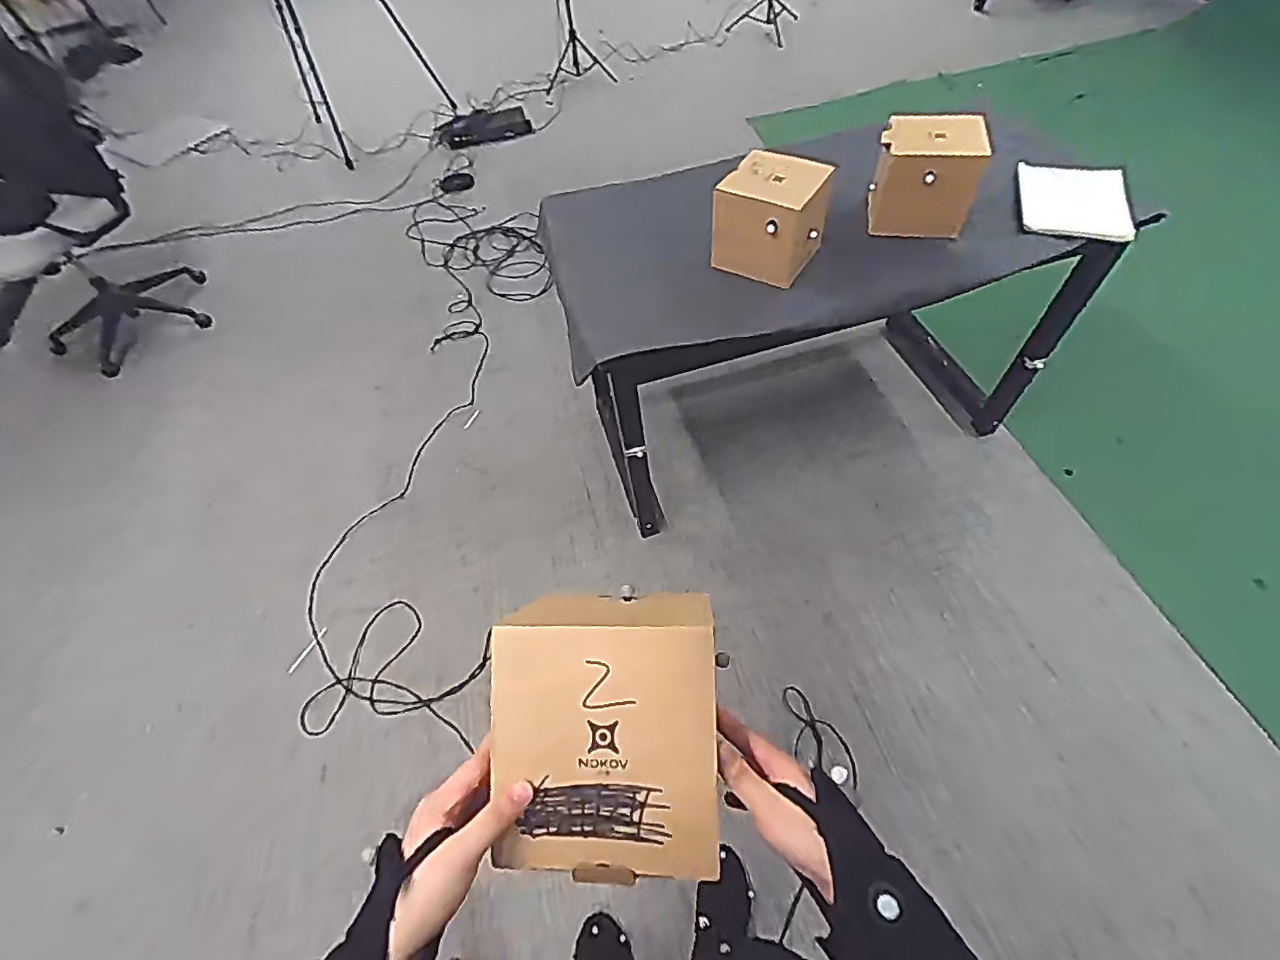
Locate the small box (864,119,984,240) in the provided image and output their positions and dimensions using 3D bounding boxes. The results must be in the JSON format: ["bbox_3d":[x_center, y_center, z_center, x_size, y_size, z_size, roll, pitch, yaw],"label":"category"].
[{"bbox_3d":[0.580,-0.621,1.125,0.179,0.176,0.168,8,57,12],"label":"small box"}]

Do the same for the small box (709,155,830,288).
[{"bbox_3d":[0.254,-0.516,1.089,0.179,0.176,0.168,26,62,22],"label":"small box"}]
